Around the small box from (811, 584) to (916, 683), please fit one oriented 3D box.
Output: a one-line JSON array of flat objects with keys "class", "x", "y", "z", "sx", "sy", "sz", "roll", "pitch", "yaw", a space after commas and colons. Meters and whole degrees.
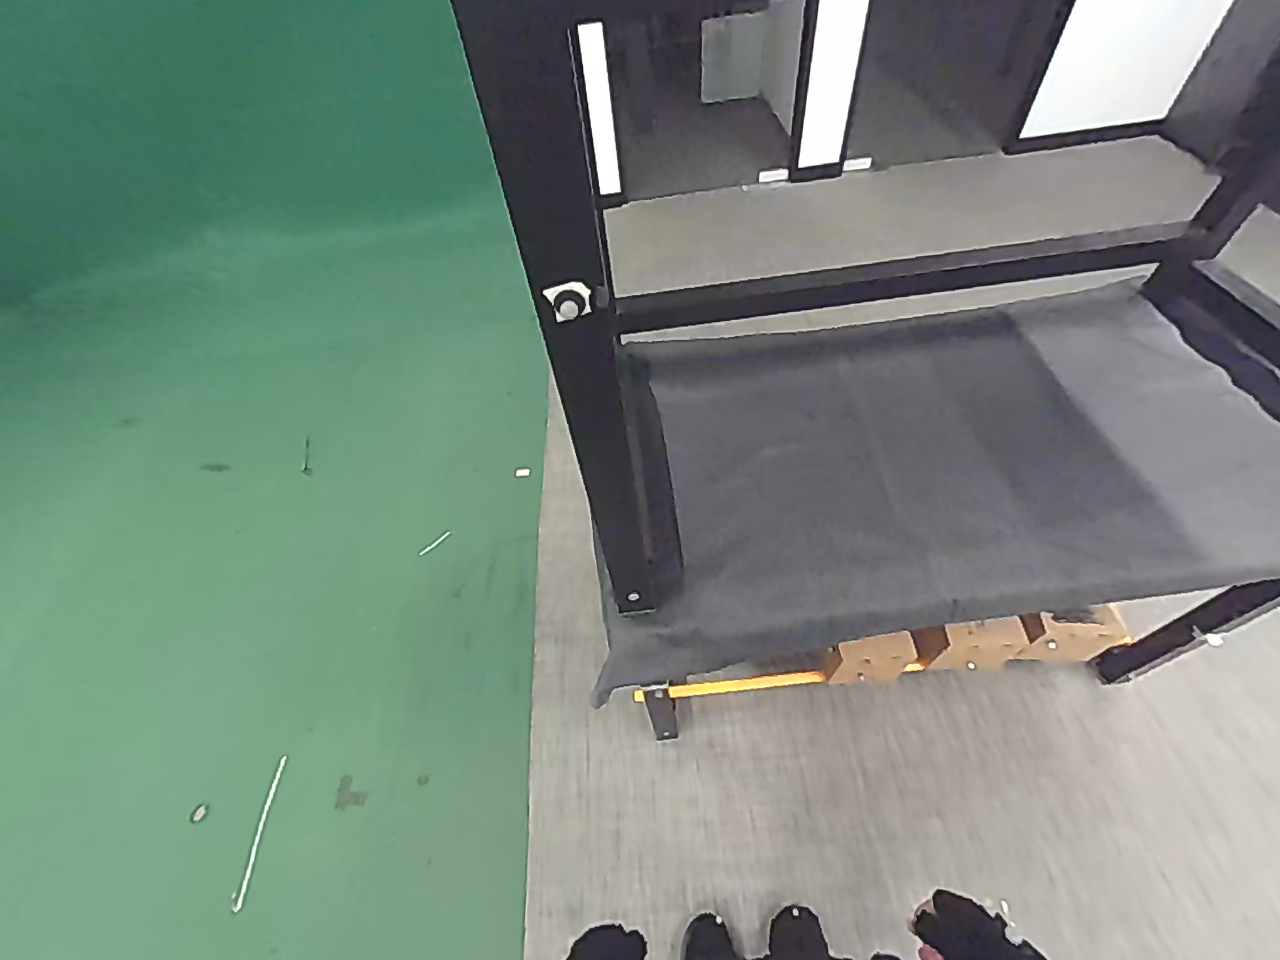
[{"class": "small box", "x": 0.516, "y": 0.364, "z": 1.277, "sx": 0.168, "sy": 0.176, "sz": 0.179, "roll": -5, "pitch": 55, "yaw": 2}]
